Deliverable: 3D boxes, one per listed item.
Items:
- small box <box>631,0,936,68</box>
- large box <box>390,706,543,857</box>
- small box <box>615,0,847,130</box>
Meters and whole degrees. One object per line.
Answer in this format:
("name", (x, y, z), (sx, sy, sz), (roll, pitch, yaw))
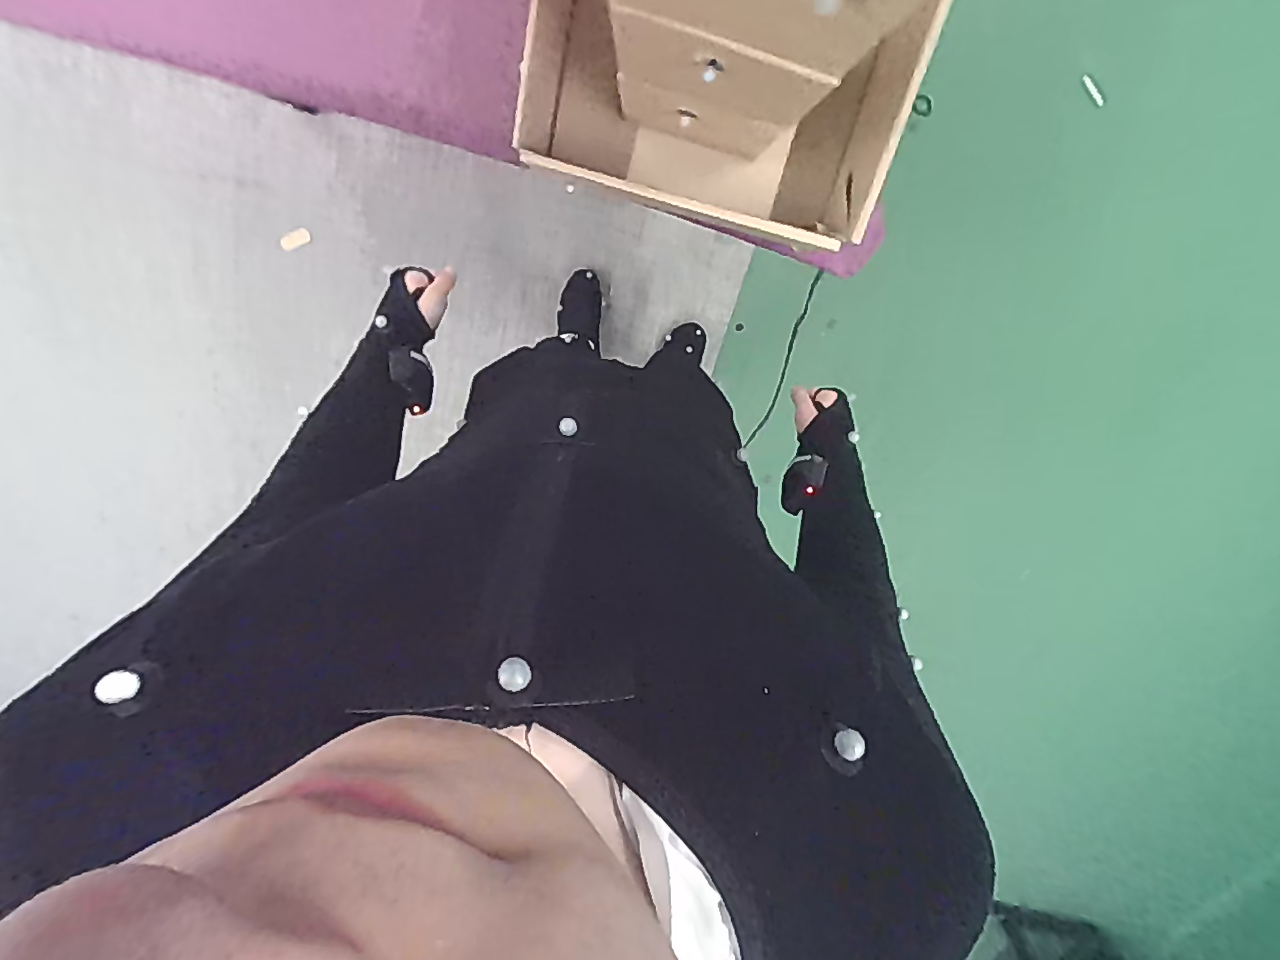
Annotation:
("small box", (0.088, -0.352, 0.280), (0.179, 0.176, 0.168), (16, 111, -5))
("large box", (-0.613, 1.093, 1.981), (0.408, 0.320, 0.320), (-16, 112, 4))
("small box", (0.088, -0.411, 0.435), (0.179, 0.176, 0.168), (16, 112, -6))
